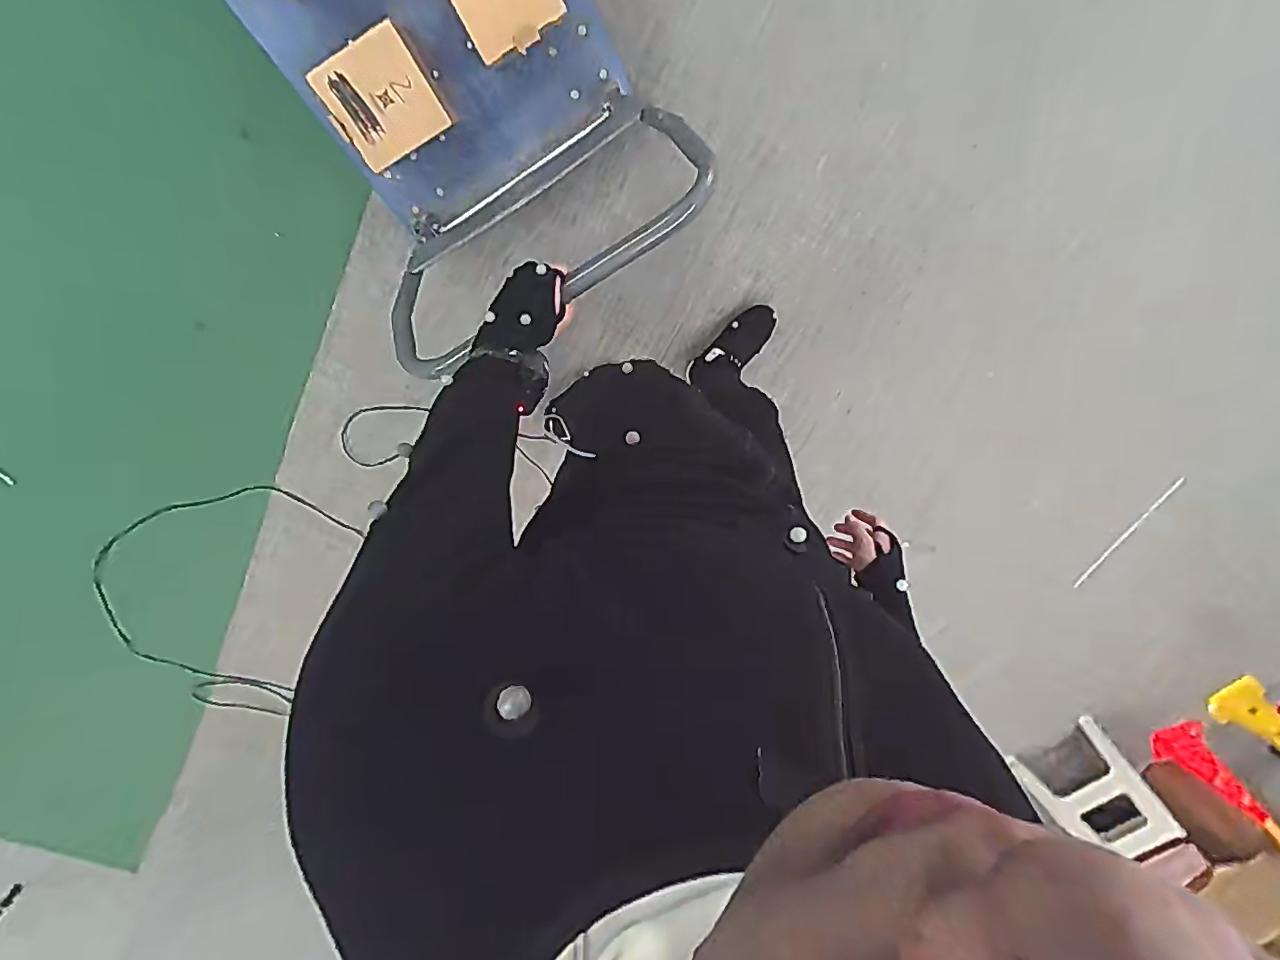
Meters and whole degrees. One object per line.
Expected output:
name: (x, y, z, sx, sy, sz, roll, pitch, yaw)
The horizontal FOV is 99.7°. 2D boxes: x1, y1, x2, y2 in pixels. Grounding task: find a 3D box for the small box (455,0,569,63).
small box: (-0.242, -0.861, 0.937, 0.168, 0.176, 0.179, -28, 128, 9)
